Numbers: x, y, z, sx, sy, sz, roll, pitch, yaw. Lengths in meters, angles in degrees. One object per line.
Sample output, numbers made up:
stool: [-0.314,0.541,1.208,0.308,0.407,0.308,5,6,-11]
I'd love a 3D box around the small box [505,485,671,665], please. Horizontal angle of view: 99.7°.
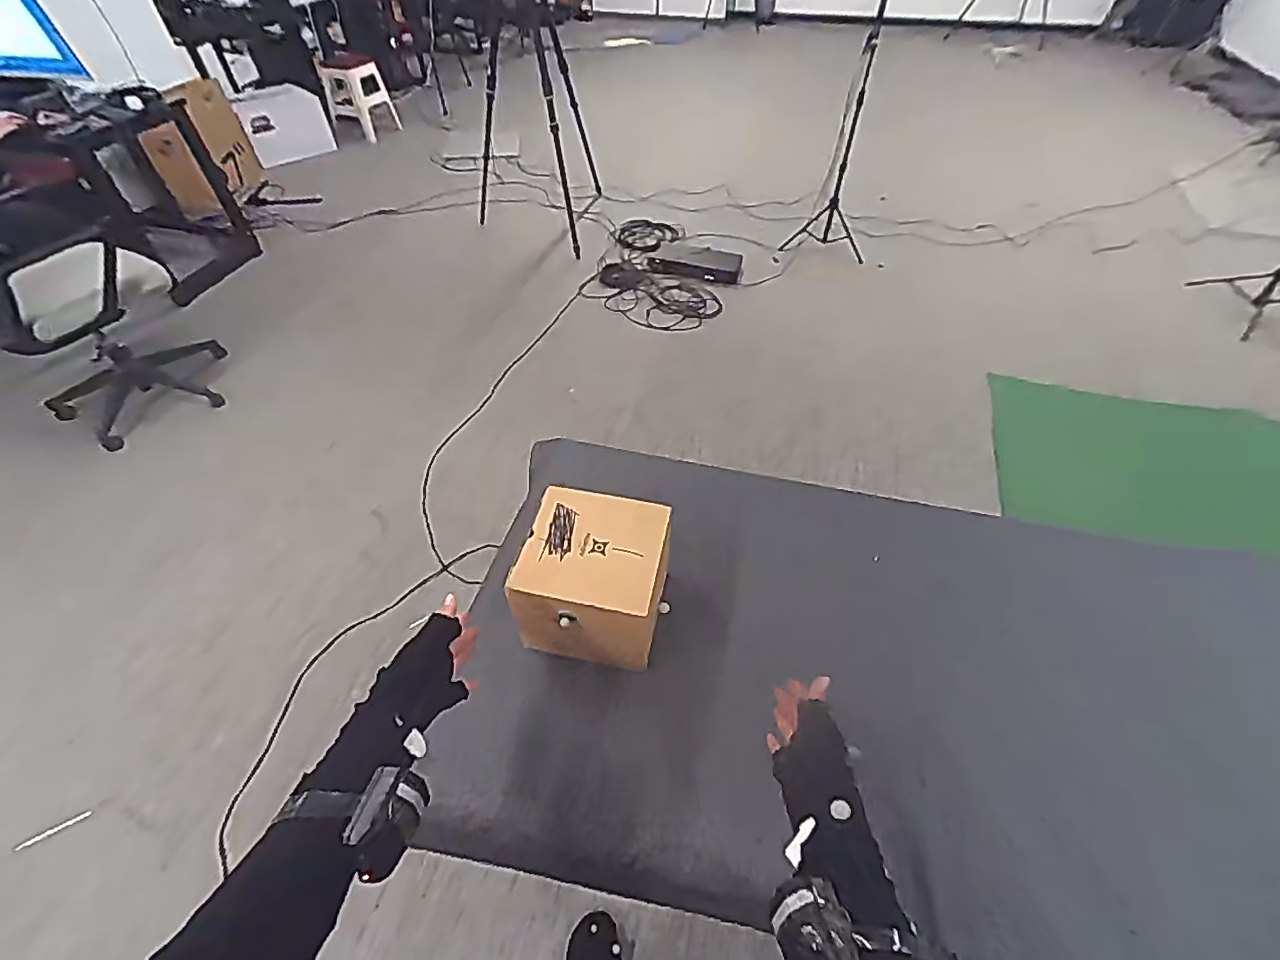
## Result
small box: [-0.061,0.134,0.741,0.179,0.176,0.168,10,50,7]
